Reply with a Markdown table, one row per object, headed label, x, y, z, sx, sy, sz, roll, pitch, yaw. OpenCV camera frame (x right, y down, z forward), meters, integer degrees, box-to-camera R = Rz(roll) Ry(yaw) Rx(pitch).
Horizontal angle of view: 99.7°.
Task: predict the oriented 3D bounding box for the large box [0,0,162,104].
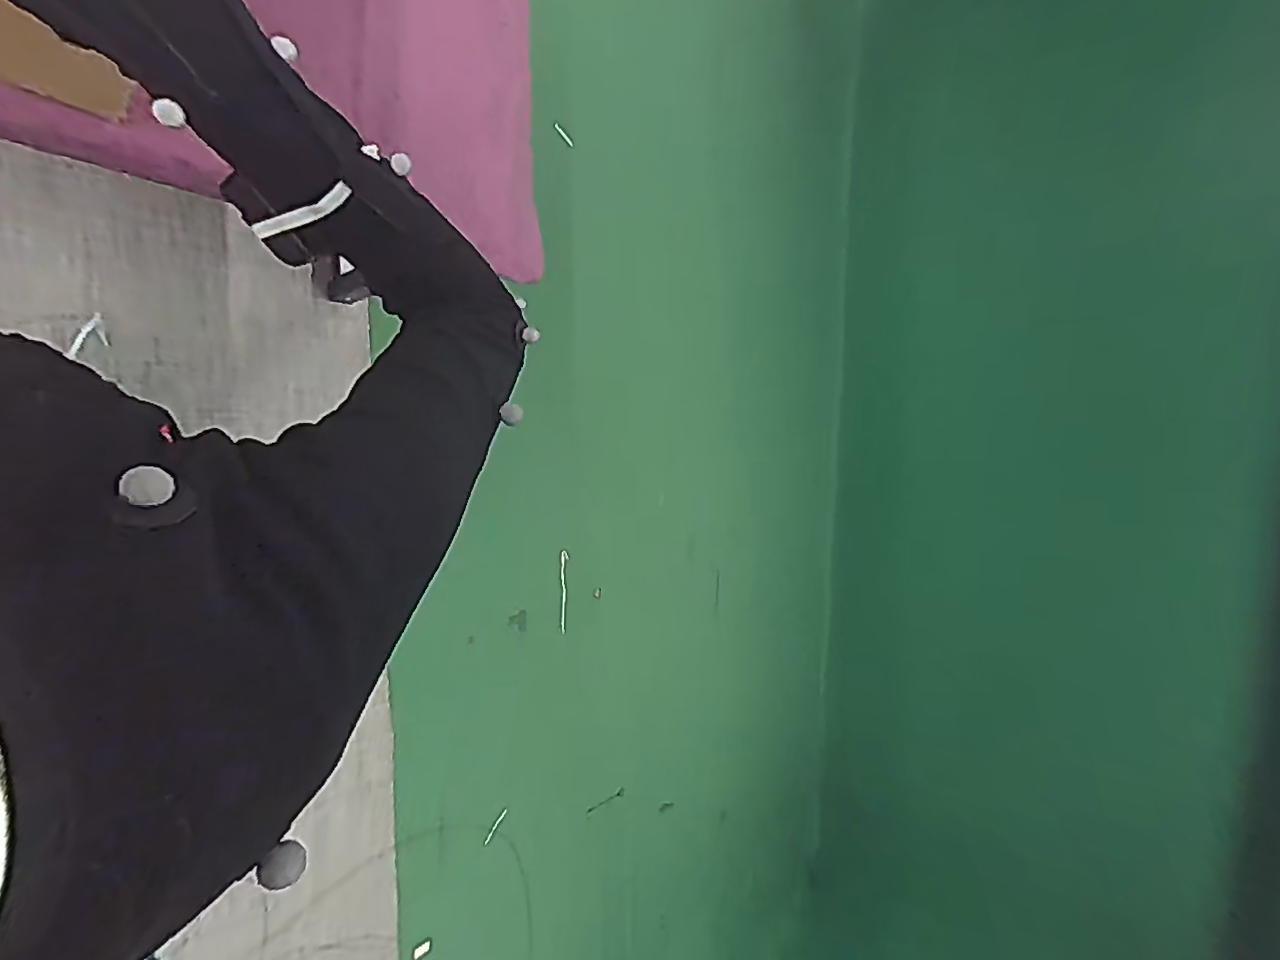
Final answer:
| label | x | y | z | sx | sy | sz | roll | pitch | yaw |
| --- | --- | --- | --- | --- | --- | --- | --- | --- | --- |
| large box | -0.518 | -0.567 | 0.338 | 0.320 | 0.320 | 0.408 | -1 | 96 | -49 |
